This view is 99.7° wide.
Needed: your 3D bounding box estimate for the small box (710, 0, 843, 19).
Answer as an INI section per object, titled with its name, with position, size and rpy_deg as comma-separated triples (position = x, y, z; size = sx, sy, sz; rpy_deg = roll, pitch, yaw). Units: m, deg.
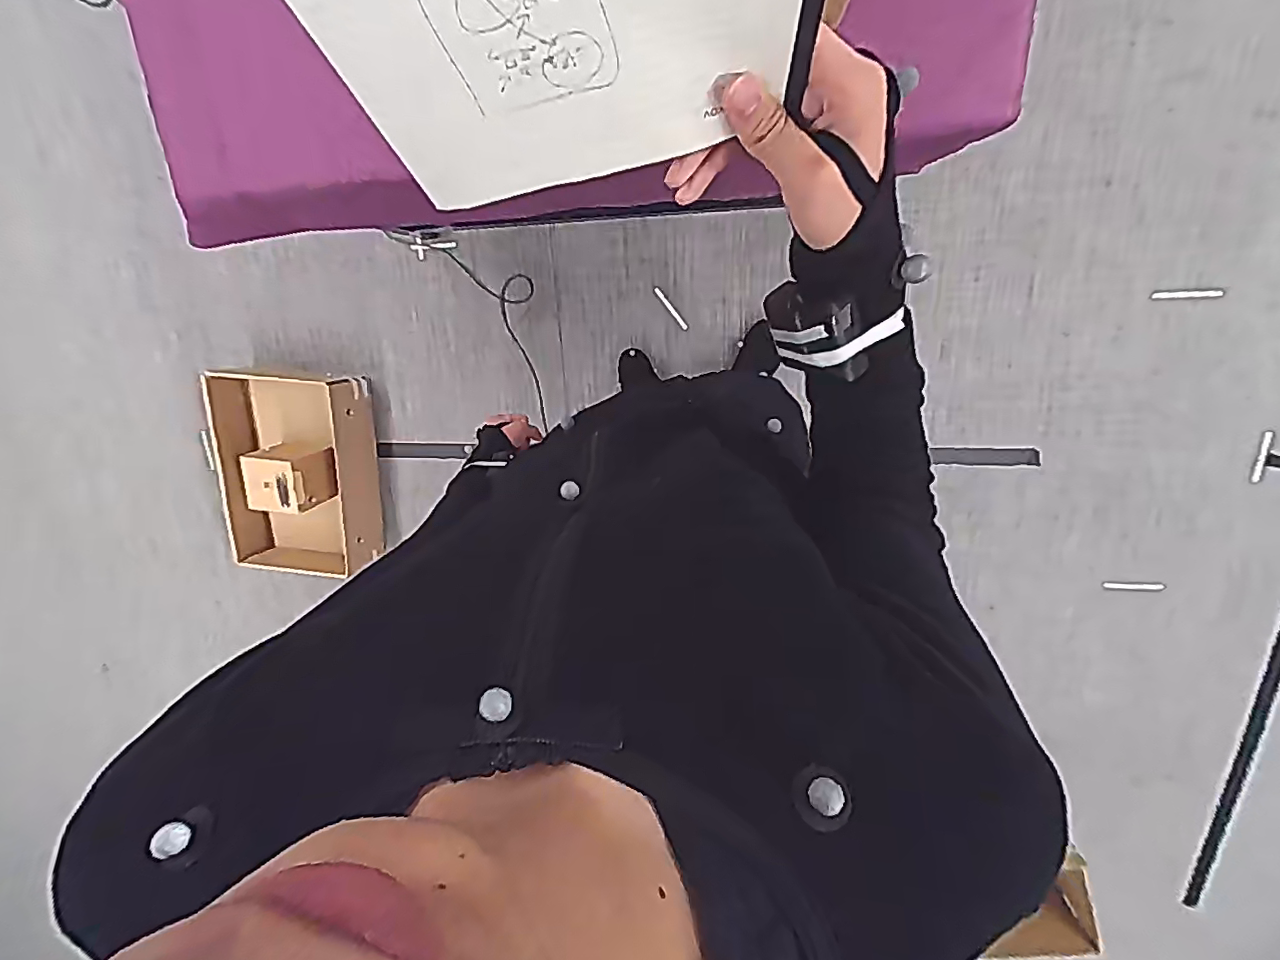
[small box]
position = 0.159, -0.630, 0.574
size = 0.168, 0.176, 0.179
rpy_deg = 5, 108, 6
